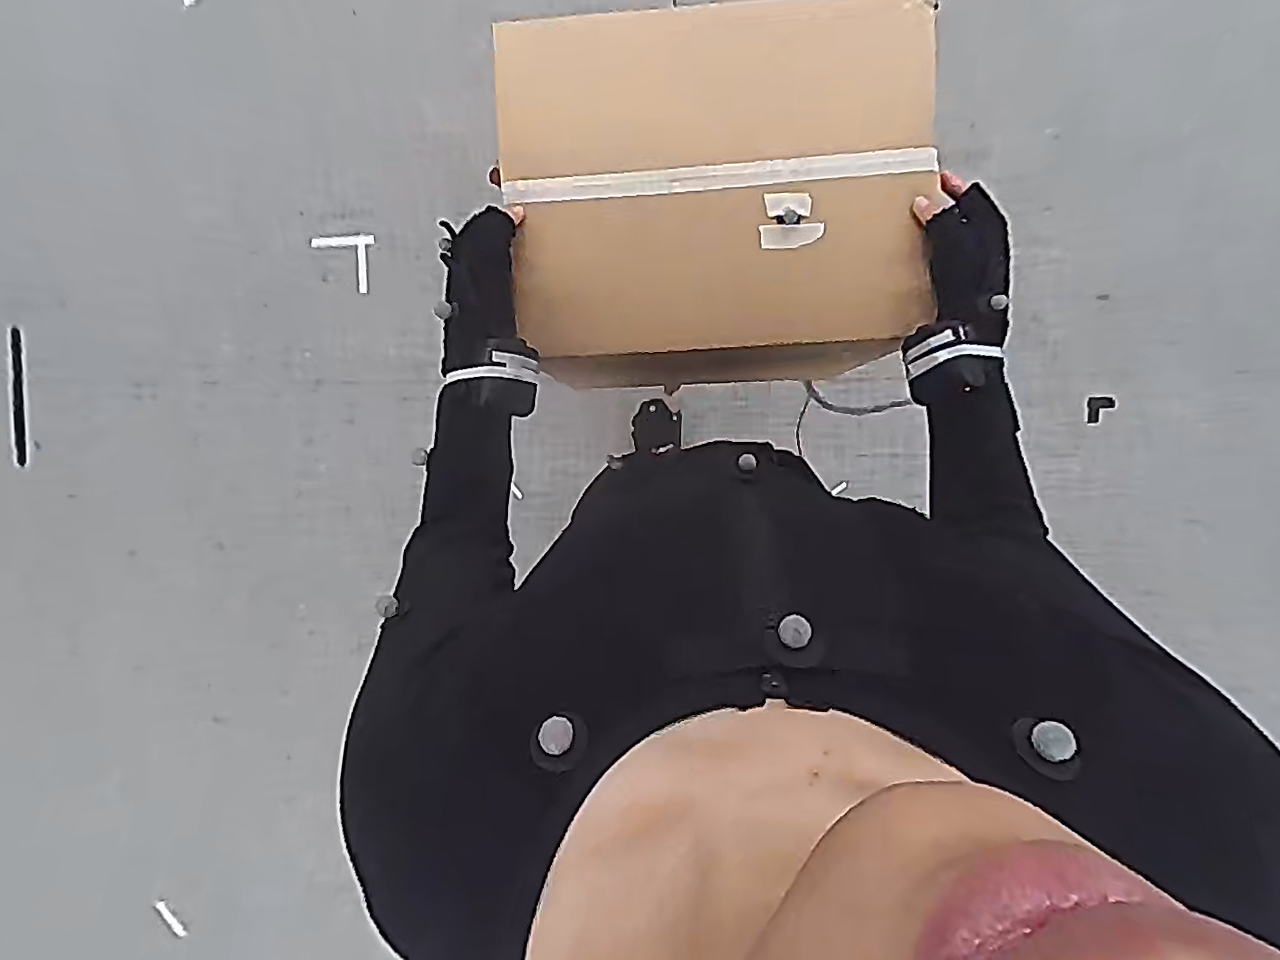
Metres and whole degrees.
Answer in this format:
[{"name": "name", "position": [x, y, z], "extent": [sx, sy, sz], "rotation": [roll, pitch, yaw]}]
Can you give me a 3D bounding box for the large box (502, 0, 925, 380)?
[{"name": "large box", "position": [0.076, -0.308, 0.673], "extent": [0.408, 0.320, 0.320], "rotation": [-3, 95, 3]}]
